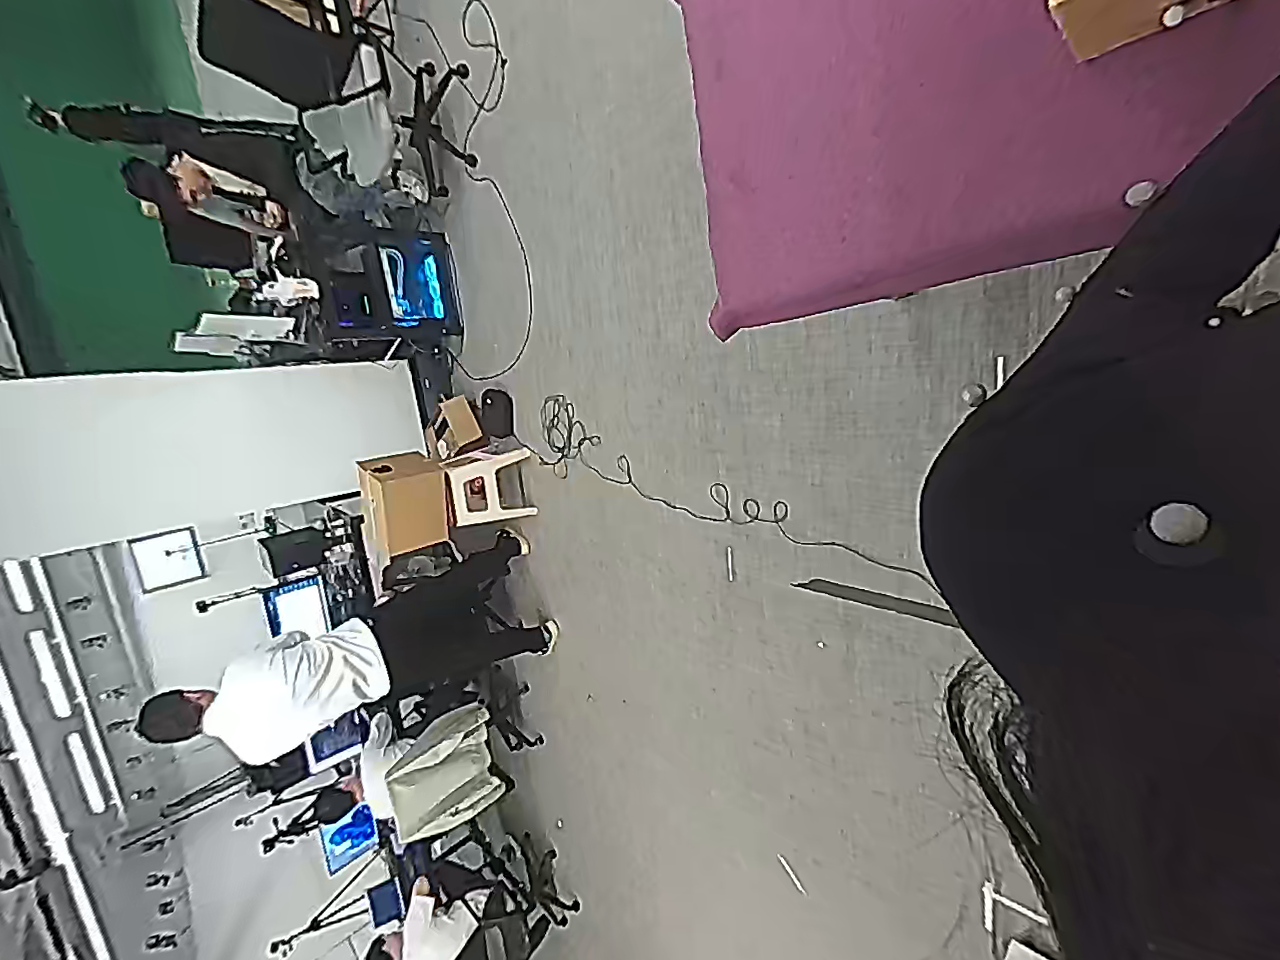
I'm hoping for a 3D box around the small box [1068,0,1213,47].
[{"bbox_3d":[0.459,-0.517,0.448,0.168,0.176,0.179,2,105,48],"label":"small box"}]
